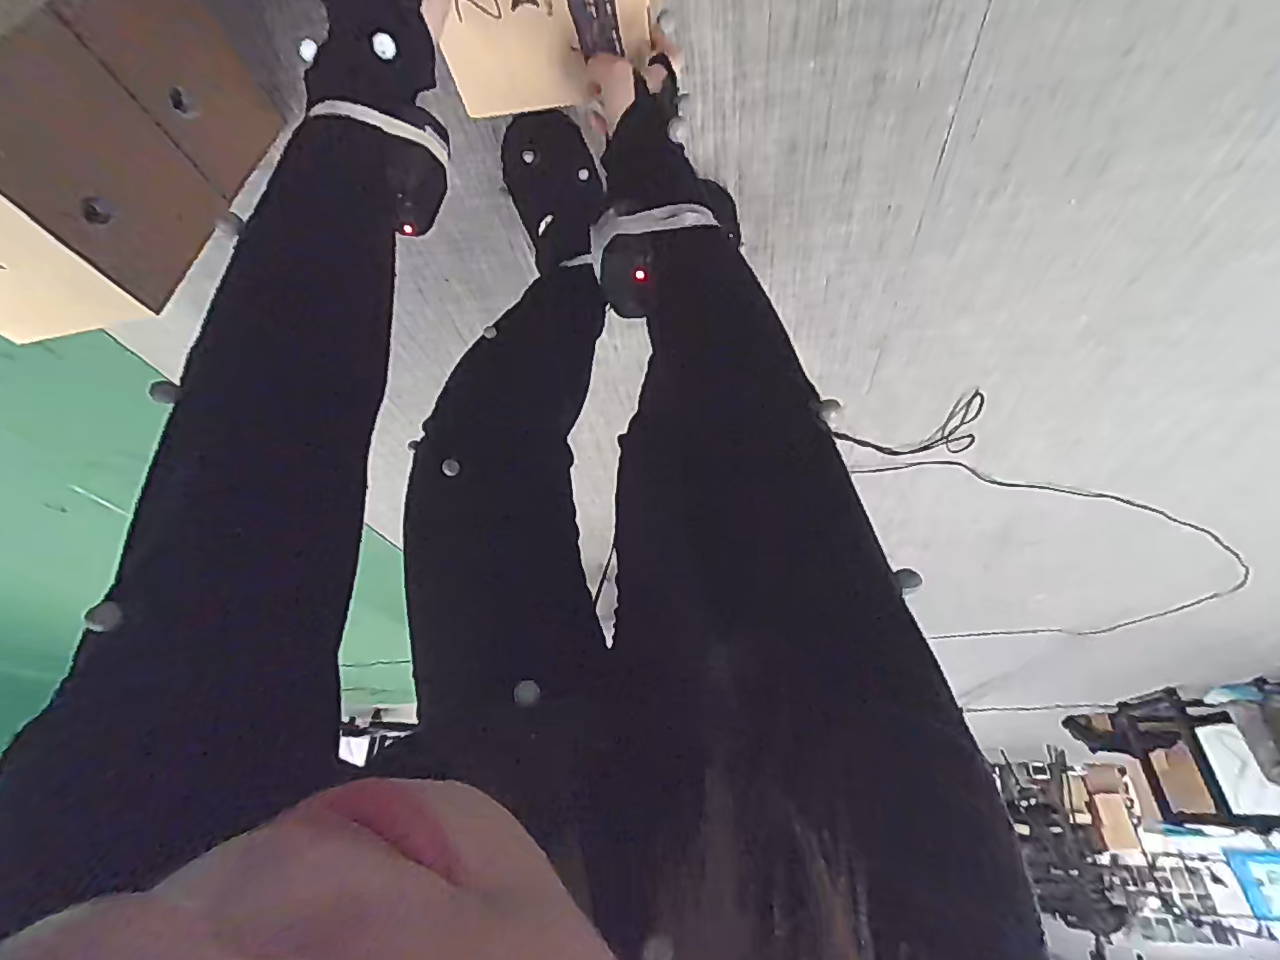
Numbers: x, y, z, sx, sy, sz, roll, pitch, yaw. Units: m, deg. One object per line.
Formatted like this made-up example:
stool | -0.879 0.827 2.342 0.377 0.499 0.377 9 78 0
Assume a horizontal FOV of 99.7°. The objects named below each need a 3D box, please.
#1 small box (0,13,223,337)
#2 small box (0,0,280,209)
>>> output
small box | -0.529 -0.258 0.478 0.168 0.176 0.179 -6 148 10
small box | -0.524 -0.401 0.559 0.168 0.176 0.179 -5 148 9
